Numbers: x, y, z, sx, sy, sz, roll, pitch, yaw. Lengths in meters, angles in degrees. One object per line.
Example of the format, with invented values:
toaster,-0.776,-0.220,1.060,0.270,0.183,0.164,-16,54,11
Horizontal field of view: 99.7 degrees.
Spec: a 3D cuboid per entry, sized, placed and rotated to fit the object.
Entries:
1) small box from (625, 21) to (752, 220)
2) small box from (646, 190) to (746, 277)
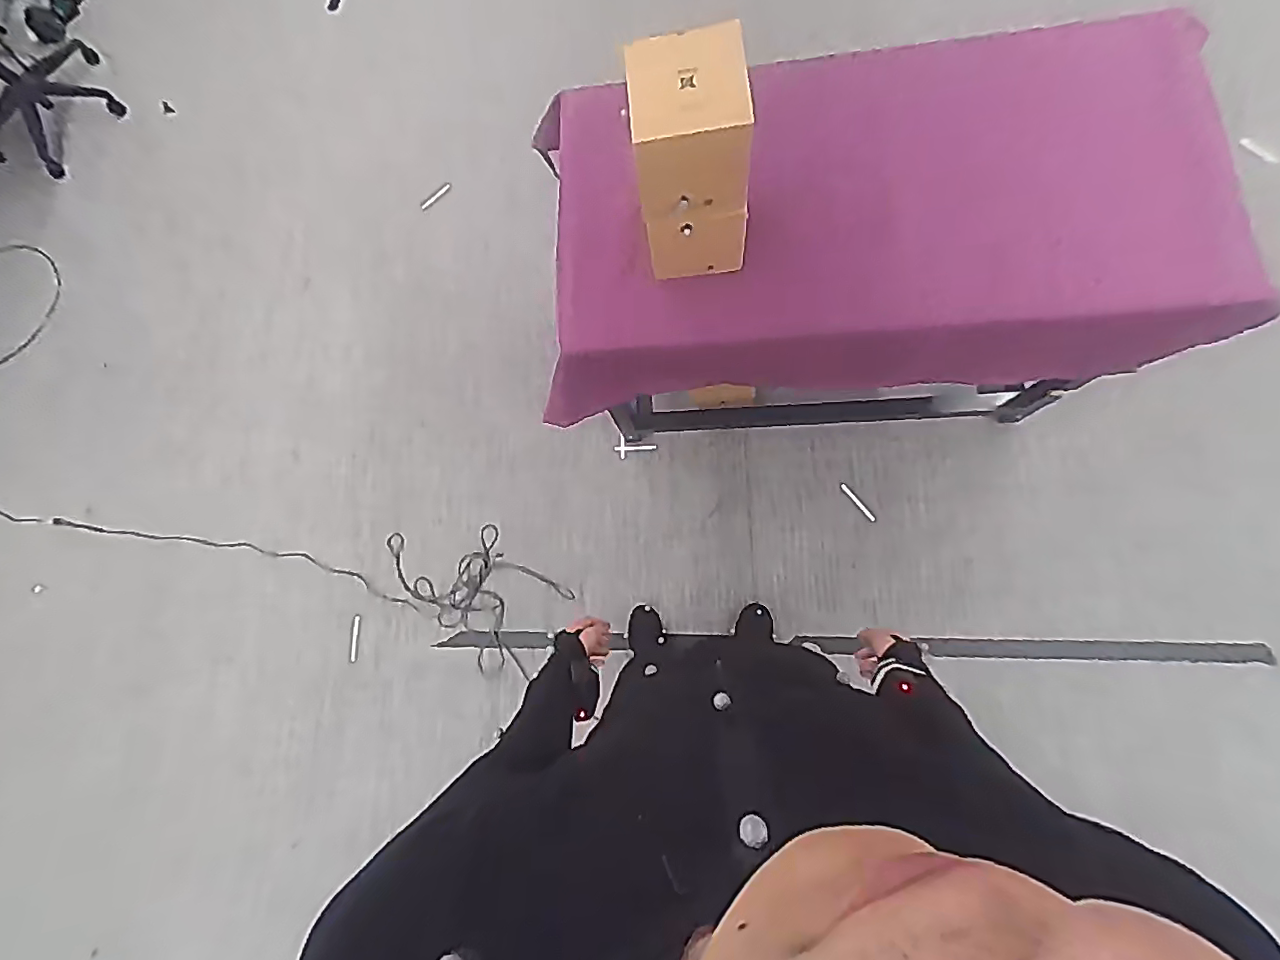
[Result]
small box,0.071,-0.529,0.815,0.168,0.176,0.179,-5,78,6
small box,0.096,-0.494,0.973,0.168,0.176,0.179,-4,78,7
